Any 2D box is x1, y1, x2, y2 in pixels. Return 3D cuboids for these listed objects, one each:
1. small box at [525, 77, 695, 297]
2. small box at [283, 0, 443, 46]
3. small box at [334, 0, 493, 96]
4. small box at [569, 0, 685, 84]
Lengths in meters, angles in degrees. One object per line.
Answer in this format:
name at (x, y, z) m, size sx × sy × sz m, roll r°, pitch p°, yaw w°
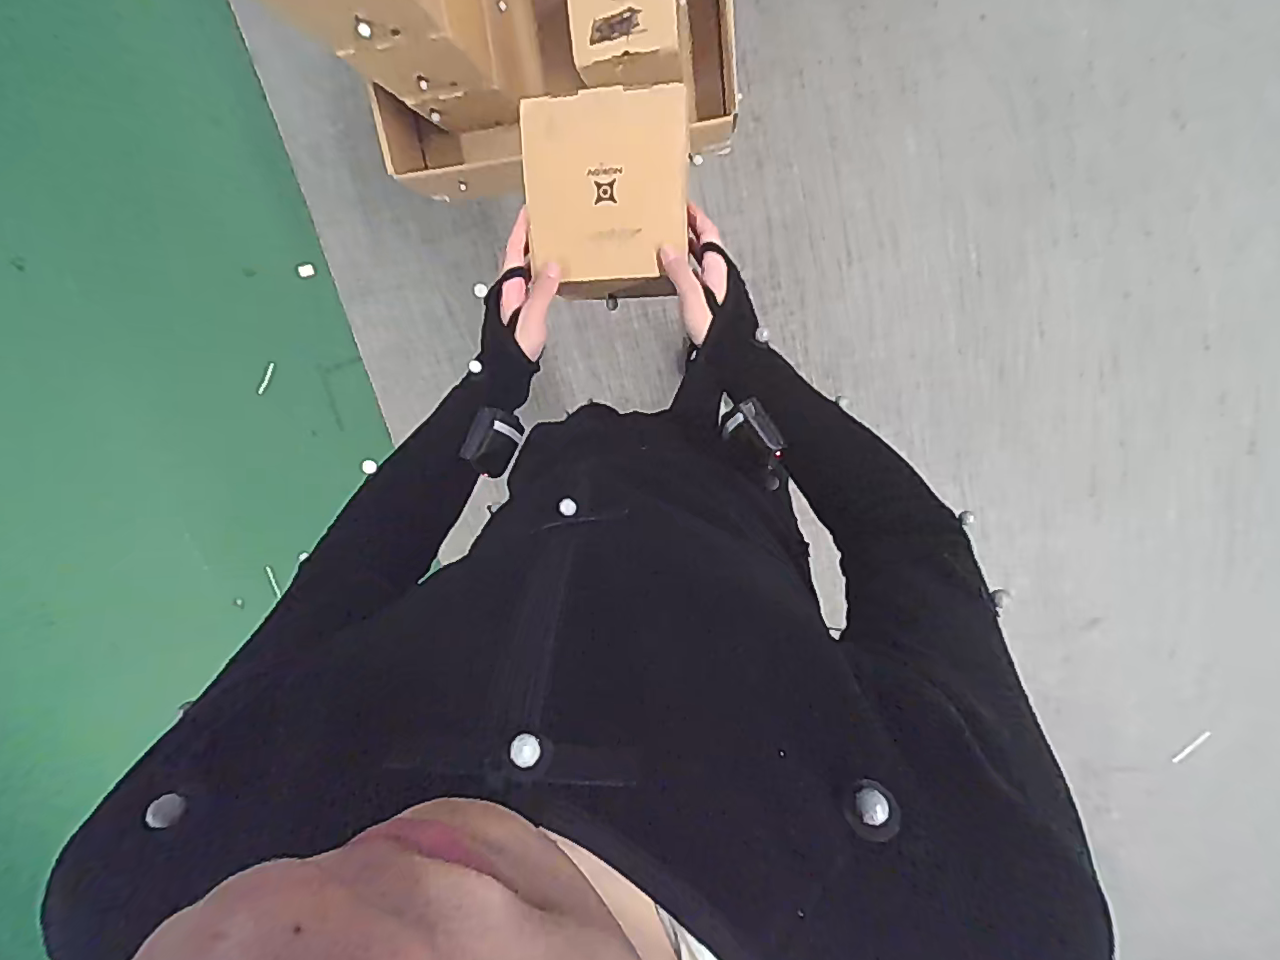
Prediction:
small box at (-0.023, -0.312, 0.613) m, size 0.168 × 0.176 × 0.179 m, roll 0°, pitch 102°, yaw 7°
small box at (-0.347, -0.642, 0.613) m, size 0.168 × 0.176 × 0.179 m, roll -2°, pitch 107°, yaw 9°
small box at (-0.327, -0.688, 0.771) m, size 0.168 × 0.176 × 0.179 m, roll -3°, pitch 107°, yaw 8°
small box at (-0.016, -0.755, 0.878) m, size 0.168 × 0.176 × 0.179 m, roll -3°, pitch 107°, yaw 8°
